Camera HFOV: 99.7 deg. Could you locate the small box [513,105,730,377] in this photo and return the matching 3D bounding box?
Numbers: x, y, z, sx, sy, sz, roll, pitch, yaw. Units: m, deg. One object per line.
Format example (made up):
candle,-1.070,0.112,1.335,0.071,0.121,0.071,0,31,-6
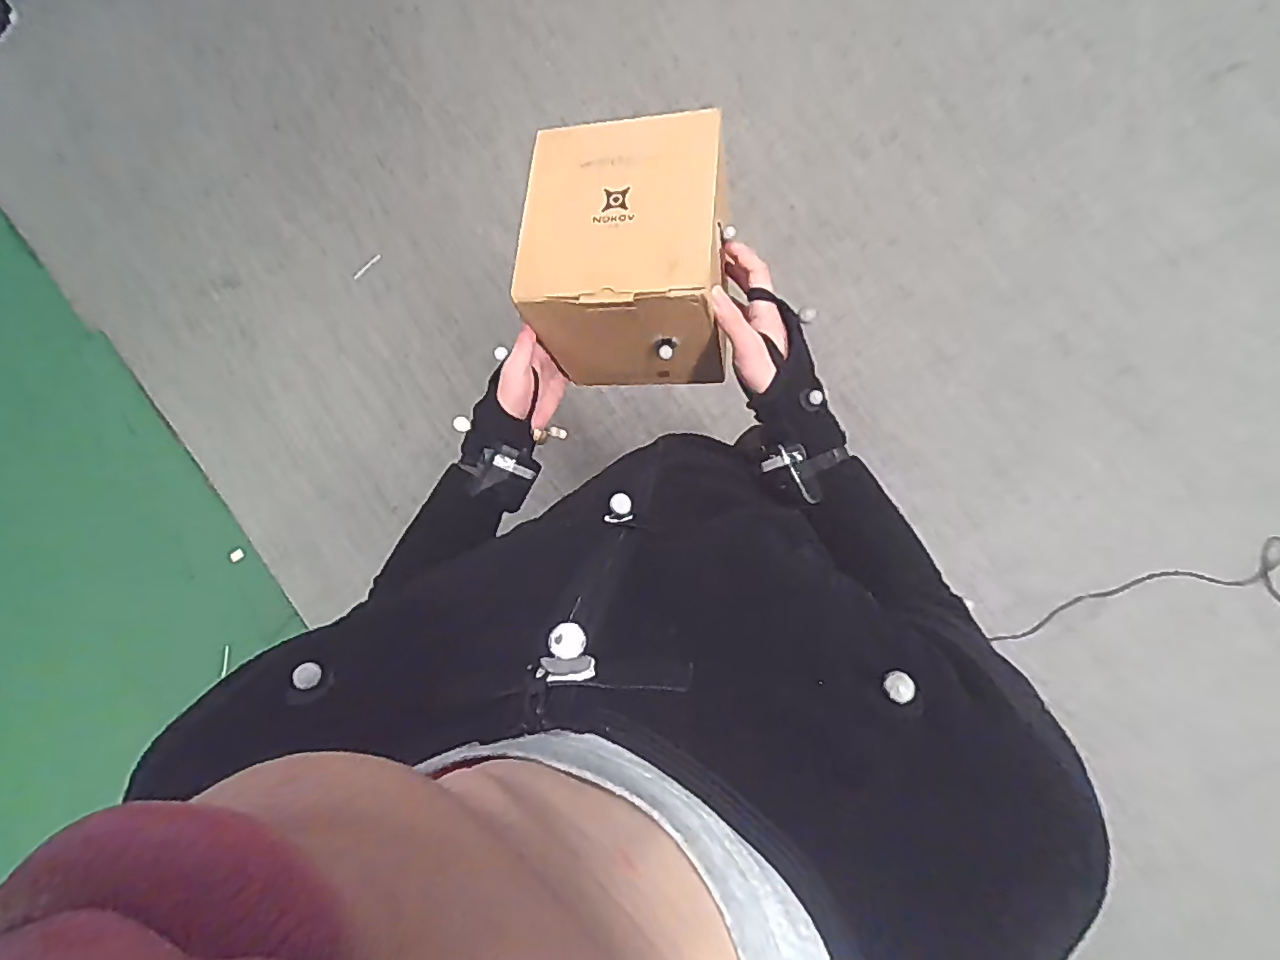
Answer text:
small box,-0.002,-0.209,0.520,0.168,0.176,0.179,2,75,12
